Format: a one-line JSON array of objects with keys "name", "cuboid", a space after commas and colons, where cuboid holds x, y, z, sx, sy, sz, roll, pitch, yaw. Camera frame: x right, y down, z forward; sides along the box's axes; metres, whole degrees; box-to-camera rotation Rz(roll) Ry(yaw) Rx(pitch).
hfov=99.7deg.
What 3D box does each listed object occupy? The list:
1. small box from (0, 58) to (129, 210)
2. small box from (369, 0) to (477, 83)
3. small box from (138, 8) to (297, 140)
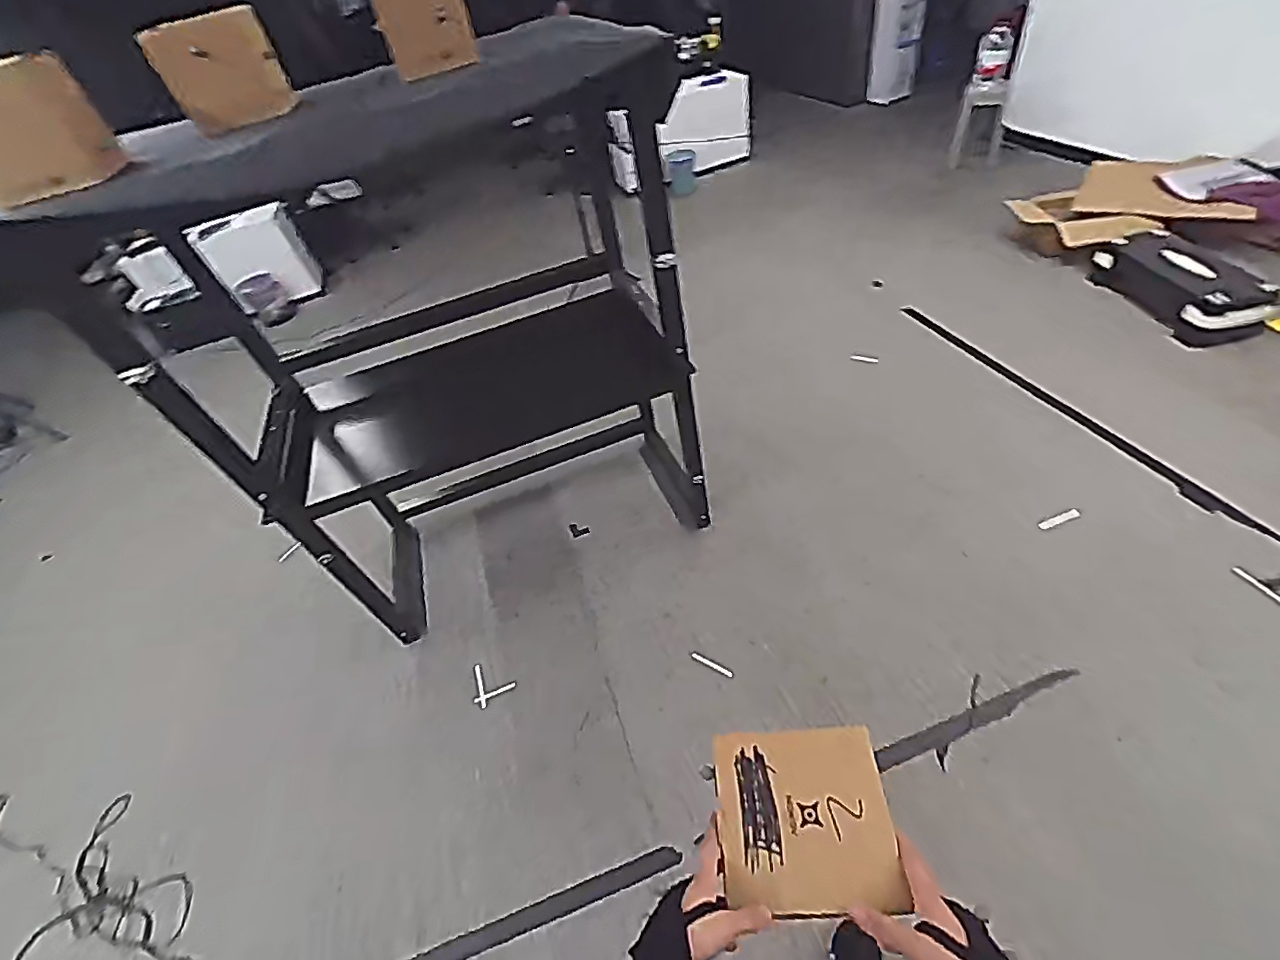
[{"name": "small box", "cuboid": [-1.011, -0.569, 0.893, 0.168, 0.176, 0.179, -22, 46, -9]}, {"name": "small box", "cuboid": [-0.457, -0.957, 1.131, 0.168, 0.176, 0.179, -22, 47, -8]}, {"name": "small box", "cuboid": [-0.830, -0.815, 1.088, 0.179, 0.176, 0.168, -20, 47, -5]}]
